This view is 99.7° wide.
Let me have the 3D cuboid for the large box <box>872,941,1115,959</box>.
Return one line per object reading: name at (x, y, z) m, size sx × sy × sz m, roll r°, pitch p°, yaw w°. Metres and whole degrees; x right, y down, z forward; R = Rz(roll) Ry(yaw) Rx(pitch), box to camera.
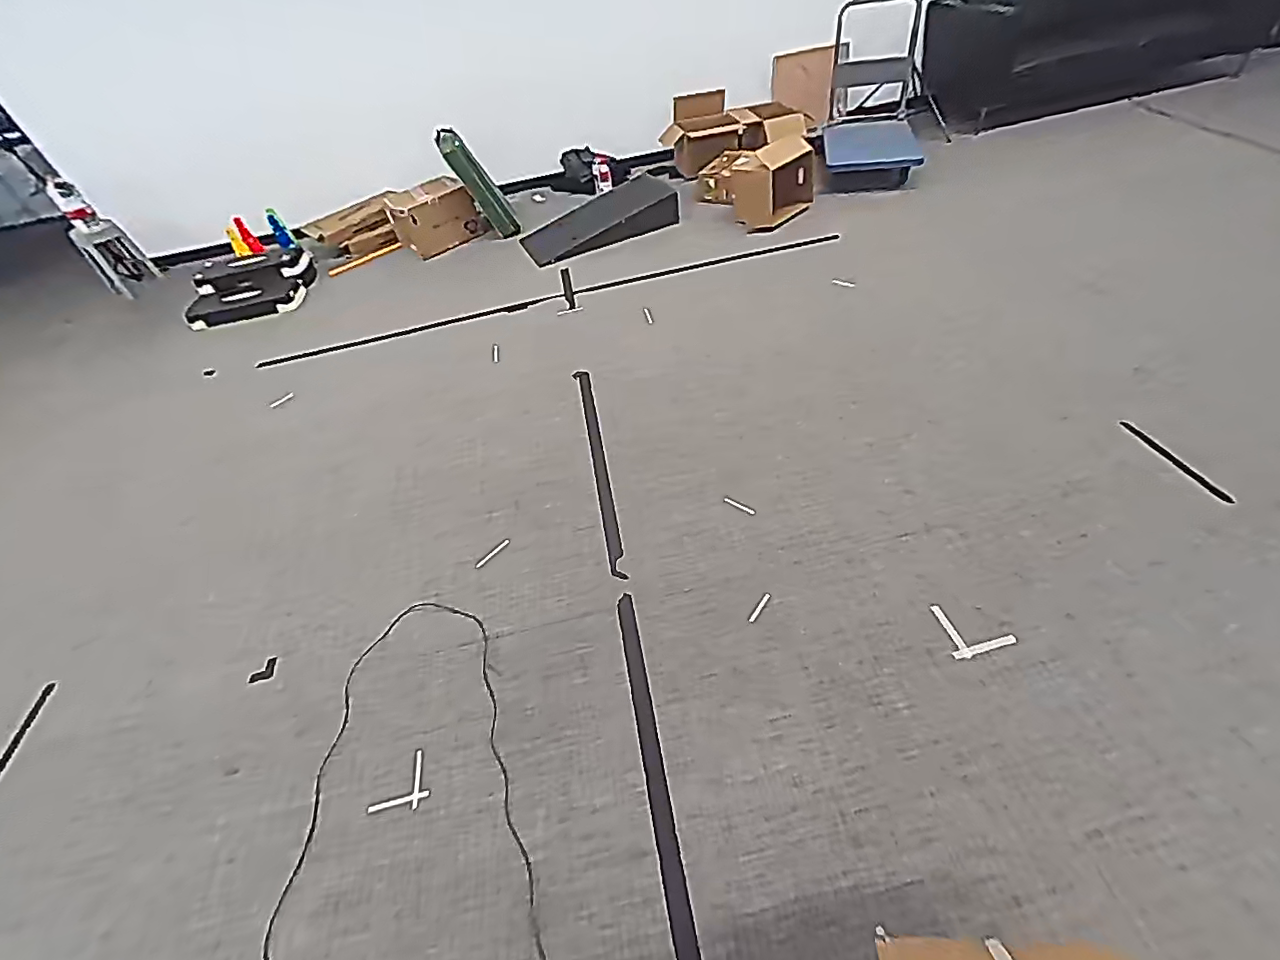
large box at (0.464, 0.771, 0.541) m, size 0.320 × 0.408 × 0.320 m, roll -7°, pitch 79°, yaw 10°
